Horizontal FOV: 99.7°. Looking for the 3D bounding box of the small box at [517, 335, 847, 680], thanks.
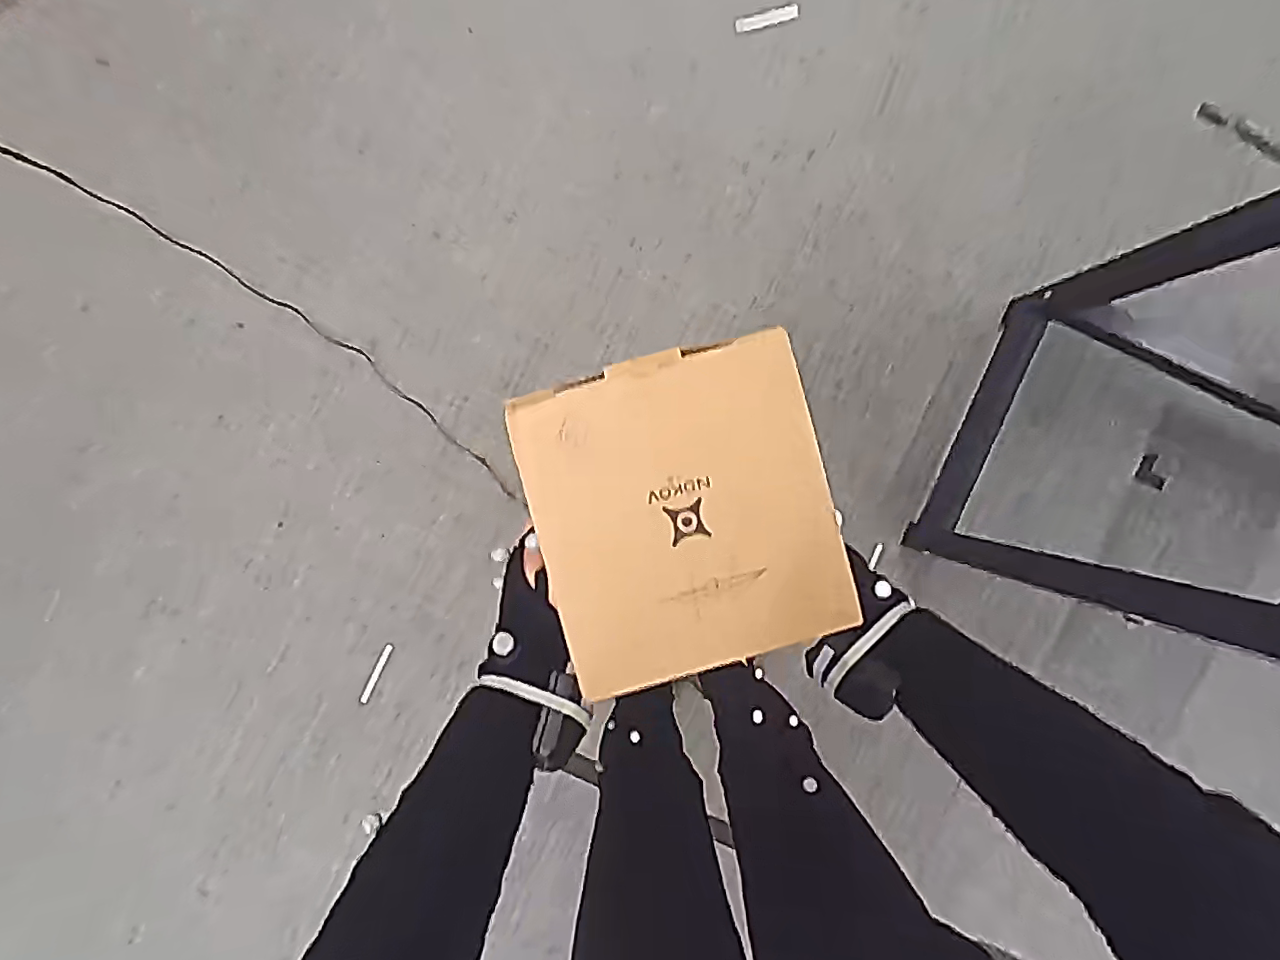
[{"bbox_3d":[0.023,0.014,0.401,0.168,0.176,0.179,-16,93,-1],"label":"small box"}]
